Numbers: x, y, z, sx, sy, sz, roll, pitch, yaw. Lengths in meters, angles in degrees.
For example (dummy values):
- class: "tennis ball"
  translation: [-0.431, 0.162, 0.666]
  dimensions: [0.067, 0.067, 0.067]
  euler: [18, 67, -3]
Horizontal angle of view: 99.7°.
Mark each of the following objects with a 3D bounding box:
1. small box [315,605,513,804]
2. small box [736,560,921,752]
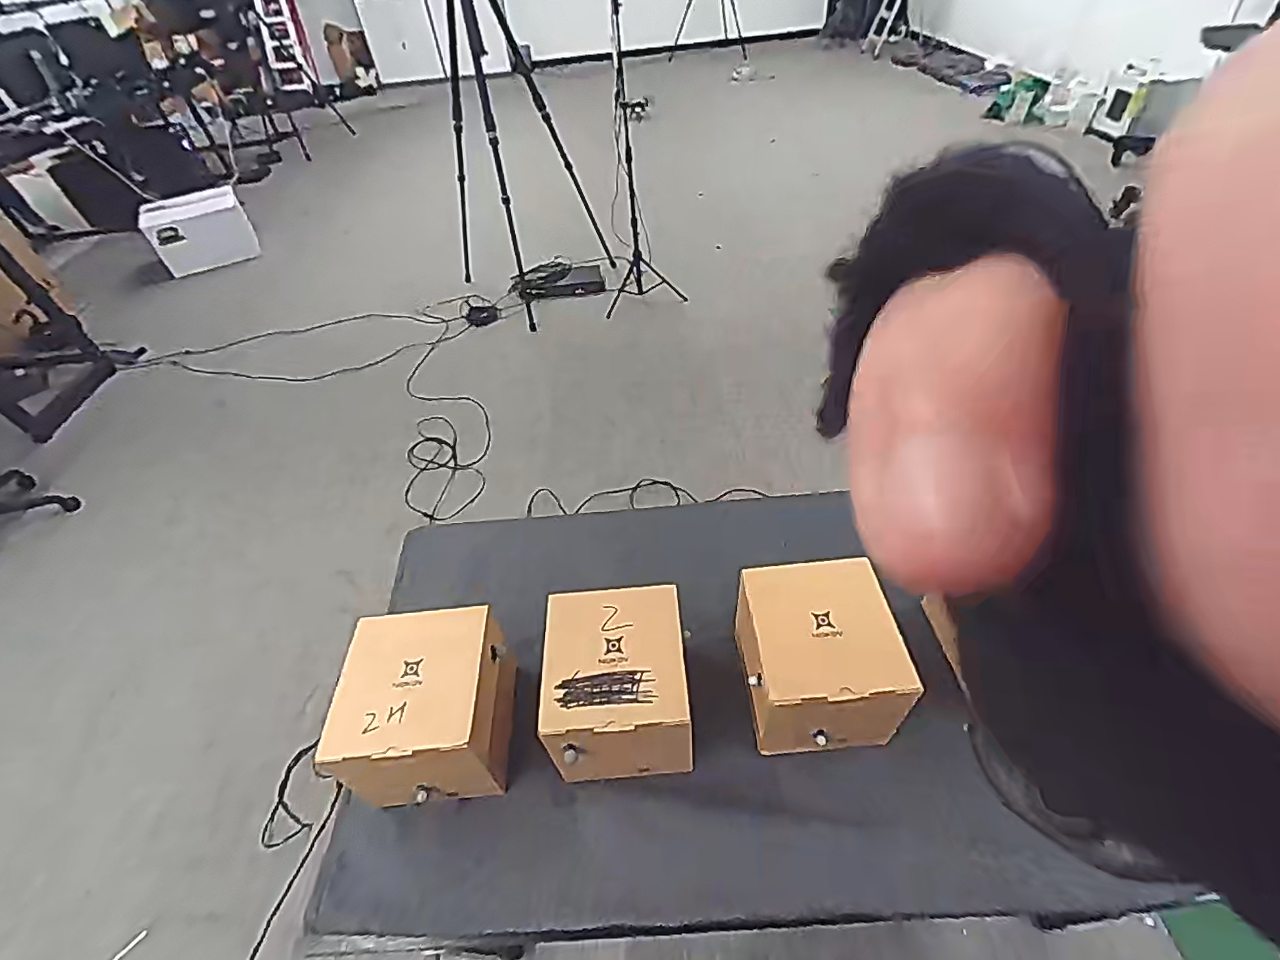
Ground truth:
- class: "small box"
  translation: [-0.262, 0.282, 0.682]
  dimensions: [0.168, 0.176, 0.179]
  euler: [-5, 45, -1]
- class: "small box"
  translation: [0.222, 0.227, 0.696]
  dimensions: [0.168, 0.176, 0.179]
  euler: [-5, 47, 0]
